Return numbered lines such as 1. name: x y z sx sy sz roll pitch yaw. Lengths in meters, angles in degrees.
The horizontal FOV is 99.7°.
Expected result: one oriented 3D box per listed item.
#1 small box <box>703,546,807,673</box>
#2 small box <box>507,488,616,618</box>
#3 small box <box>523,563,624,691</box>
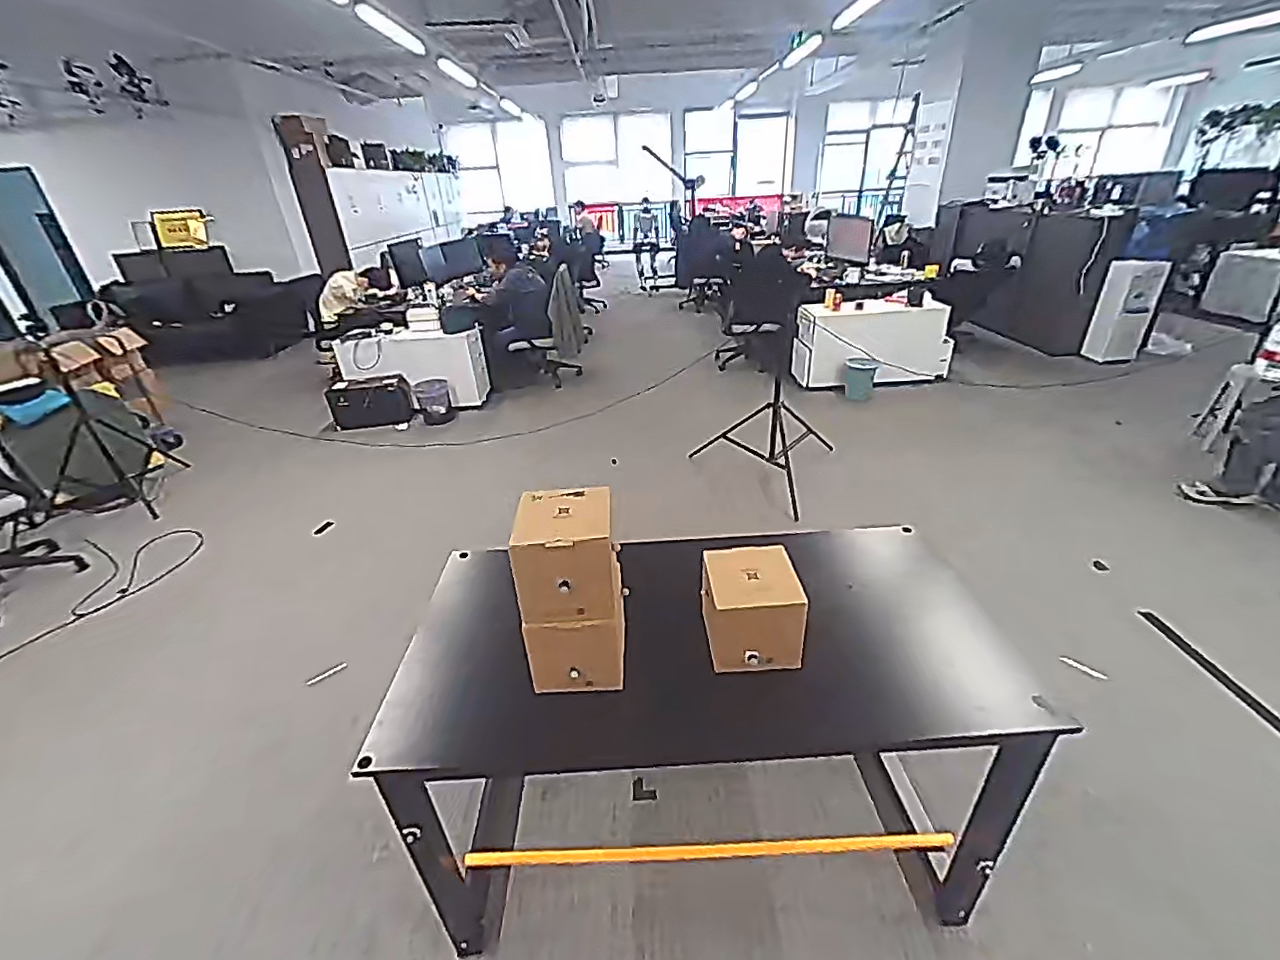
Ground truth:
1. small box: 0.216 0.253 1.066 0.168 0.176 0.179 -5 30 0
2. small box: -0.130 0.133 0.974 0.168 0.176 0.179 -4 29 -1
3. small box: -0.119 0.281 1.045 0.168 0.176 0.179 -3 29 2
